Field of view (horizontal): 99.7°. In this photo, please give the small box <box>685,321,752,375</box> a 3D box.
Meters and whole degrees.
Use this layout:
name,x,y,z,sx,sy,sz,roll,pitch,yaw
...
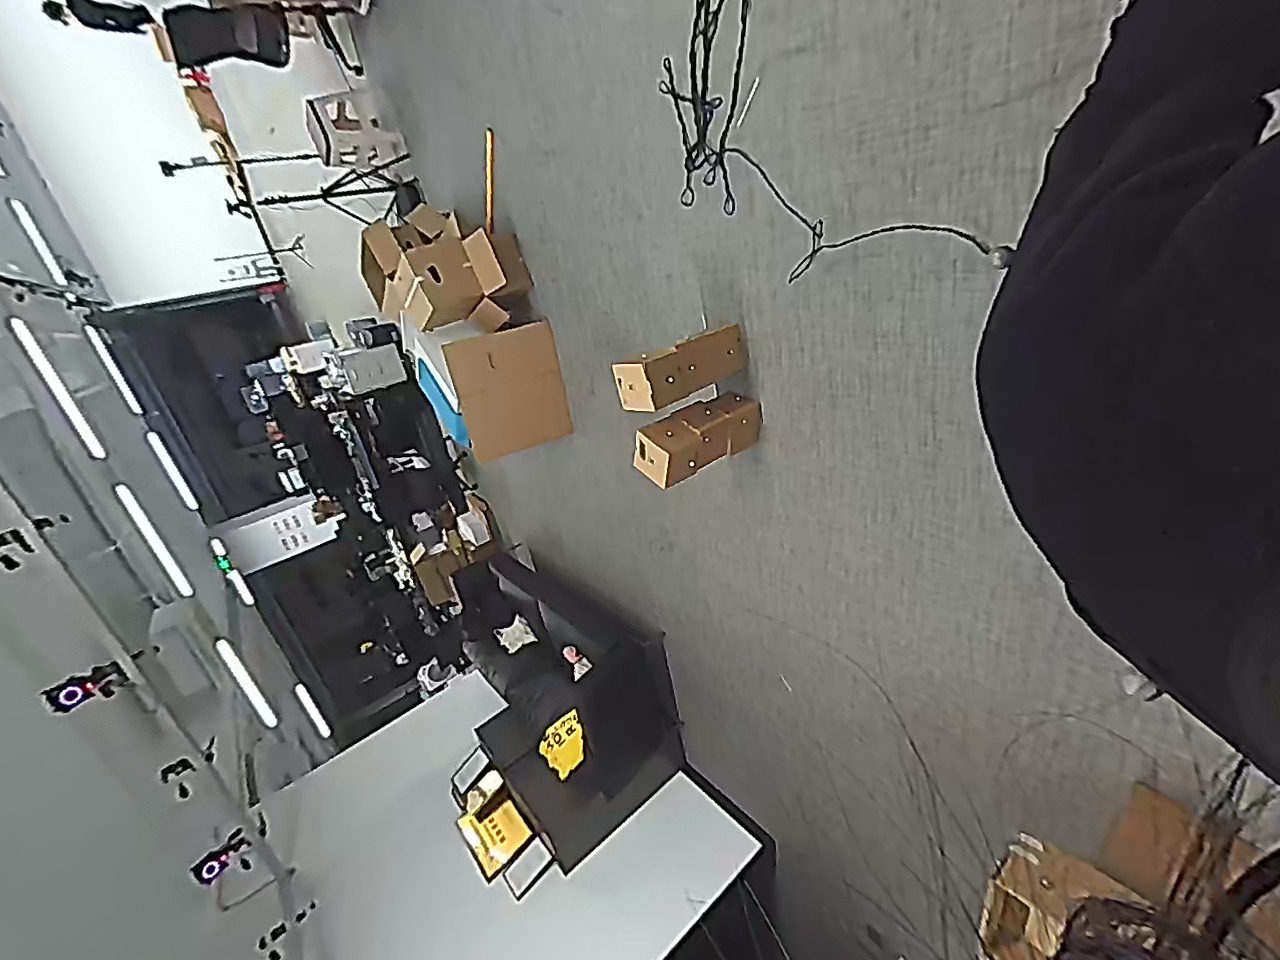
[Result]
name,x,y,z,sx,sy,sz,roll,pitch,yaw
small box,0.302,-0.490,2.029,0.179,0.176,0.168,10,121,54

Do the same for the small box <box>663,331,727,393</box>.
name,x,y,z,sx,sy,sz,roll,pitch,yaw
small box,0.187,-0.416,1.940,0.168,0.176,0.179,2,116,55

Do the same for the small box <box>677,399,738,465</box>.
name,x,y,z,sx,sy,sz,roll,pitch,yaw
small box,0.251,-0.180,2.034,0.168,0.176,0.179,37,140,38

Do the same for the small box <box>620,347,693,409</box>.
name,x,y,z,sx,sy,sz,roll,pitch,yaw
small box,0.064,-0.353,1.853,0.179,0.176,0.168,13,124,51

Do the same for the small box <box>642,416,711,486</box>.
name,x,y,z,sx,sy,sz,roll,pitch,yaw
small box,0.130,-0.112,1.947,0.179,0.176,0.168,40,142,34
